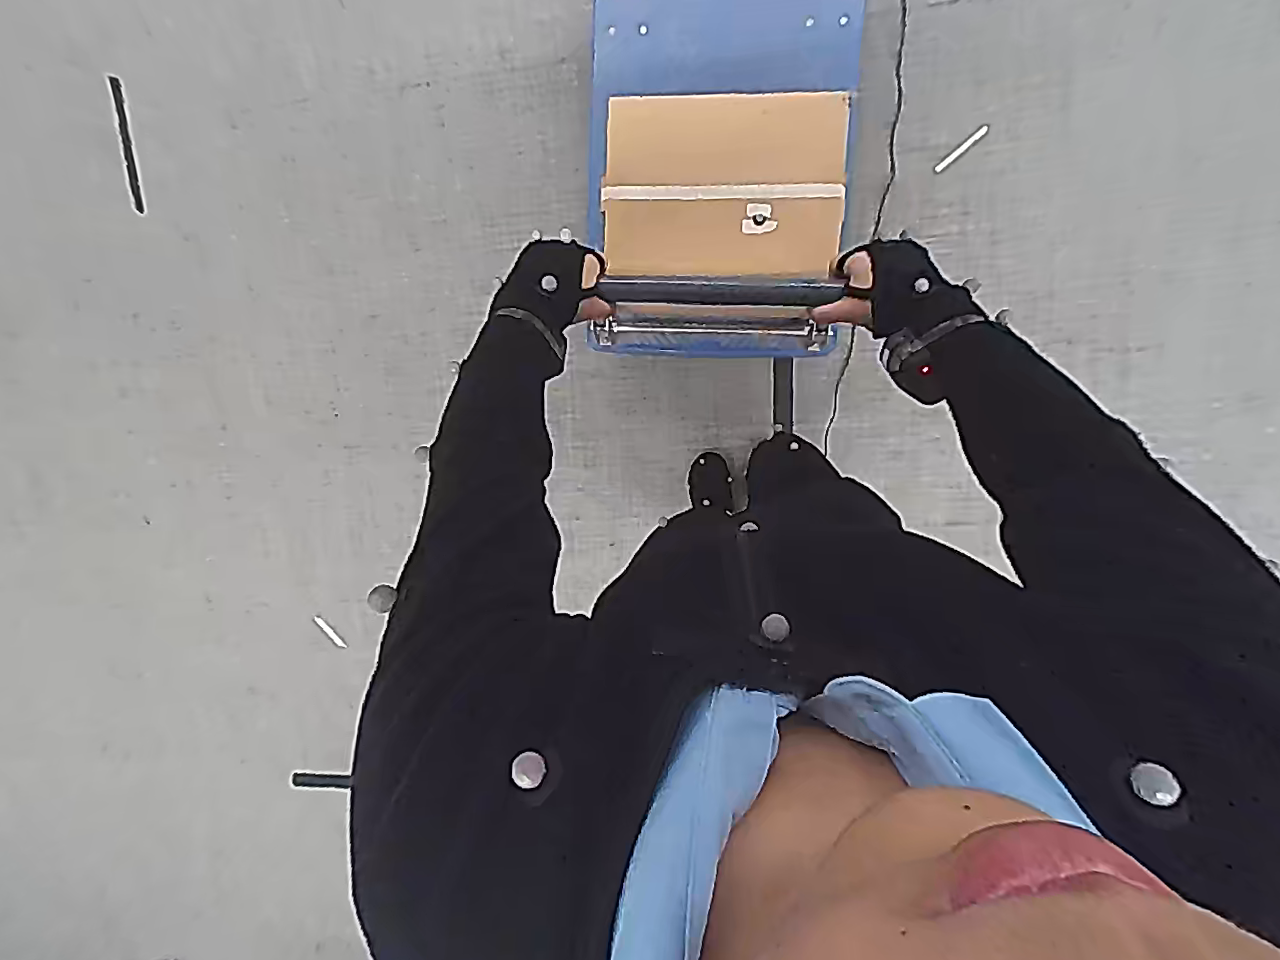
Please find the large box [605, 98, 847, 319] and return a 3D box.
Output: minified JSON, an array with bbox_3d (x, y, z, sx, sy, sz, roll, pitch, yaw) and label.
[{"bbox_3d":[0.153,-0.501,1.070,0.408,0.320,0.320,3,99,6],"label":"large box"}]
